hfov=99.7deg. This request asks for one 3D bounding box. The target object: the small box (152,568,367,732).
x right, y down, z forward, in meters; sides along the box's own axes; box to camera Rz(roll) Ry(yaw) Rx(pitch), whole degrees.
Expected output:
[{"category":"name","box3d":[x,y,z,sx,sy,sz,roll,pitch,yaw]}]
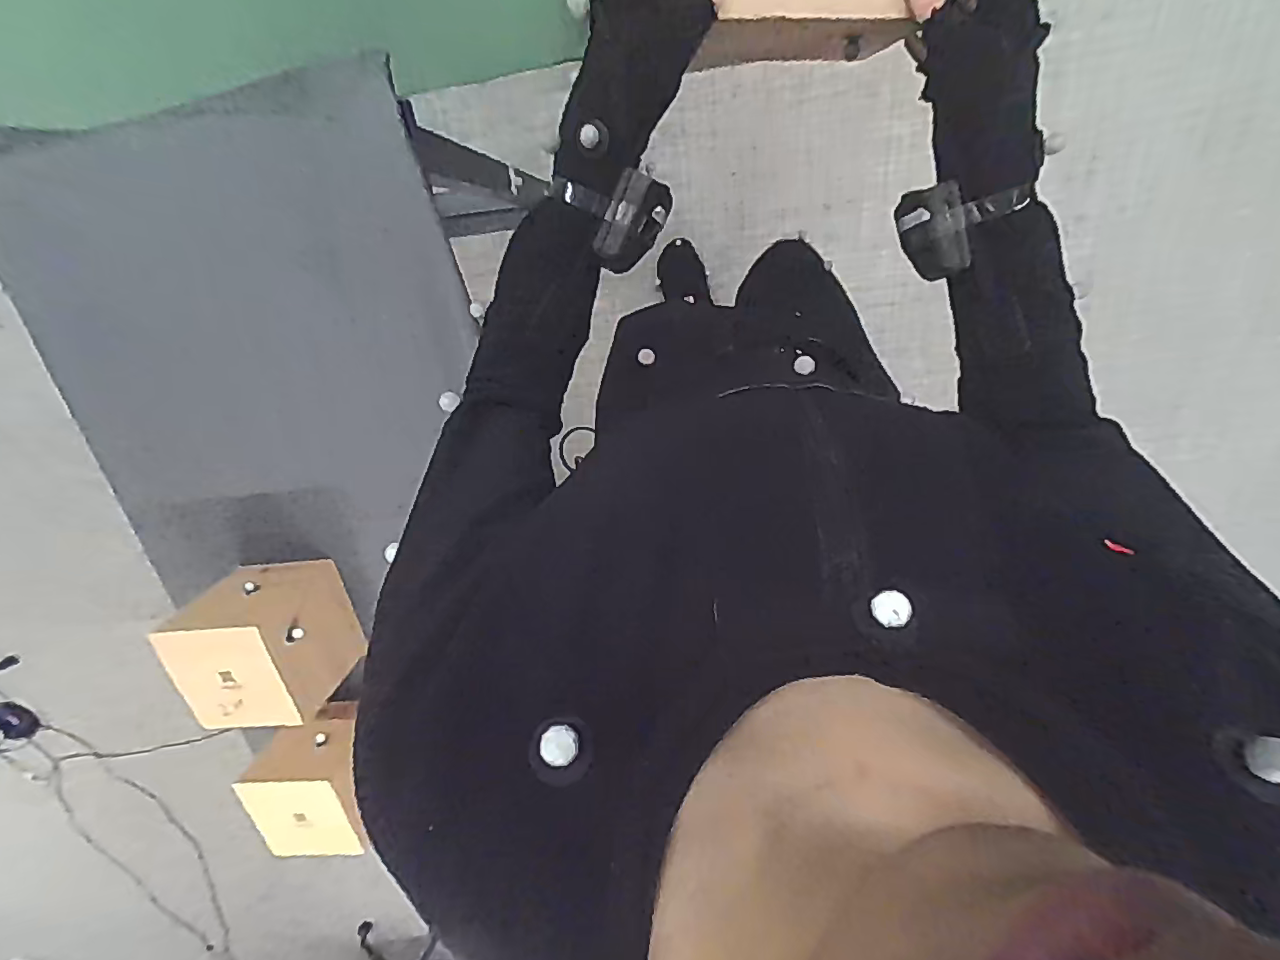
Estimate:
[{"category":"small box","box3d":[-0.549,0.244,0.810,0.168,0.176,0.179,-6,113,8]}]

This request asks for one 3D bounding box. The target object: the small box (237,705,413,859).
[{"category":"small box","box3d":[-0.521,0.506,0.924,0.168,0.176,0.179,-6,113,7]}]
